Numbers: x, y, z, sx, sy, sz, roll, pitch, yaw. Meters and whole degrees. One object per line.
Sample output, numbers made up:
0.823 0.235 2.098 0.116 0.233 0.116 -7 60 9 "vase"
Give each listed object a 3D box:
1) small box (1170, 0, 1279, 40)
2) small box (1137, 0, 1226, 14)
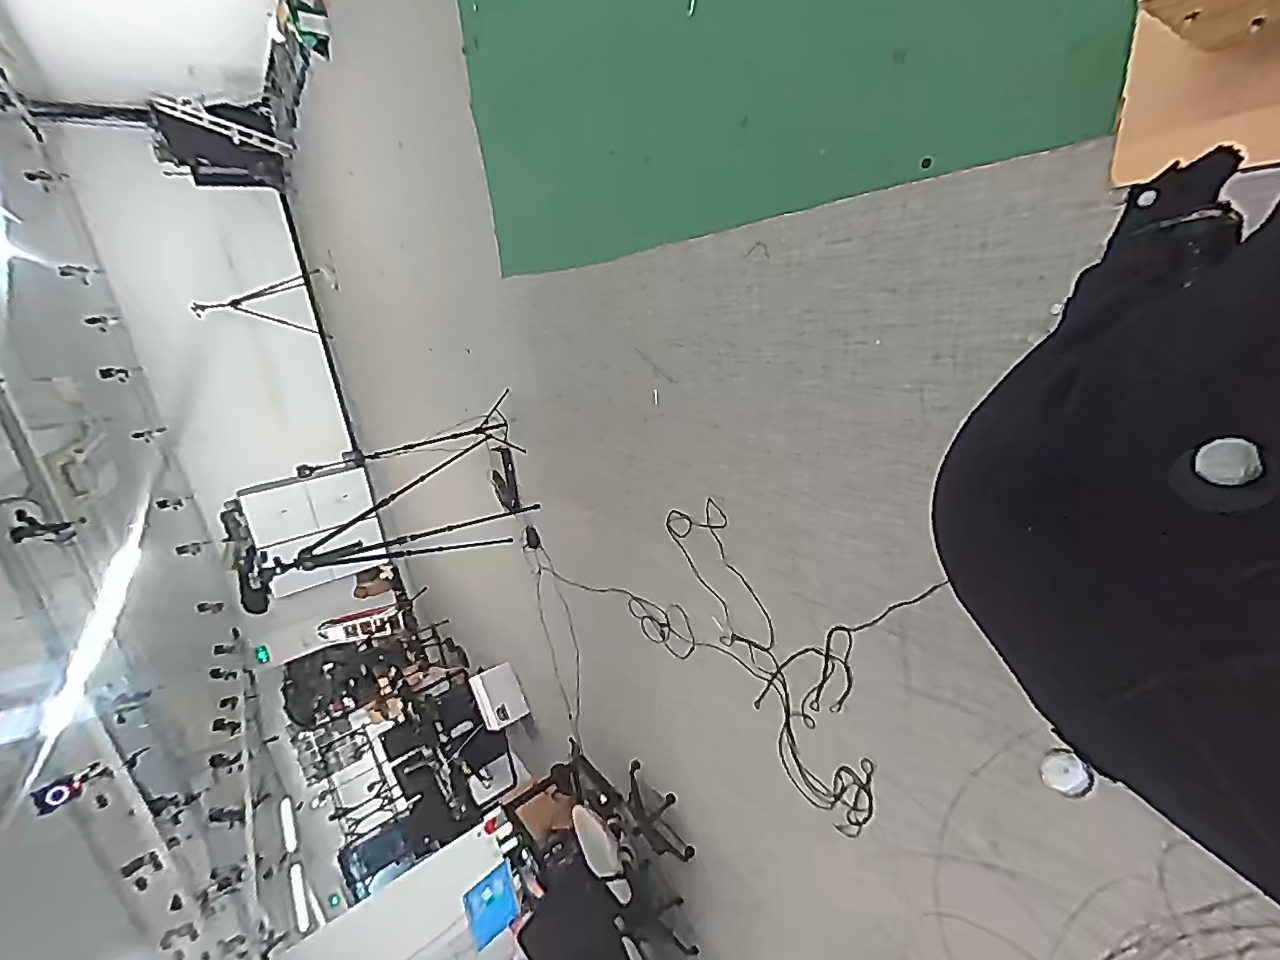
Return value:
0.940 -0.804 0.806 0.168 0.176 0.179 19 121 52 "small box"
0.808 -0.761 0.717 0.168 0.176 0.179 21 121 50 "small box"
